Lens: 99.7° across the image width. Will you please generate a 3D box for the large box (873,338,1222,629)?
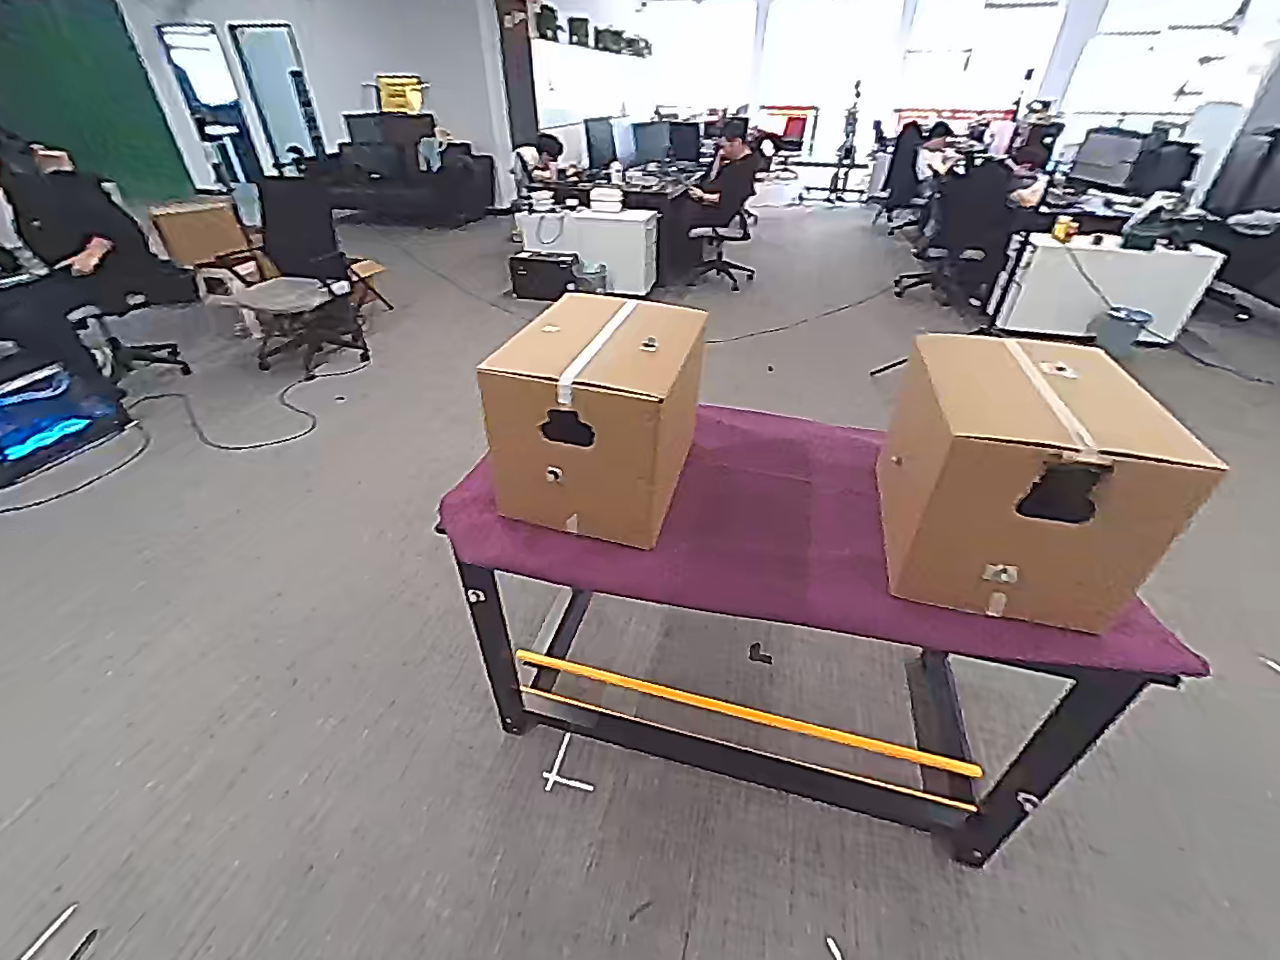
[{"bbox_3d":[0.610,-0.017,0.925,0.320,0.320,0.408,9,35,12],"label":"large box"}]
